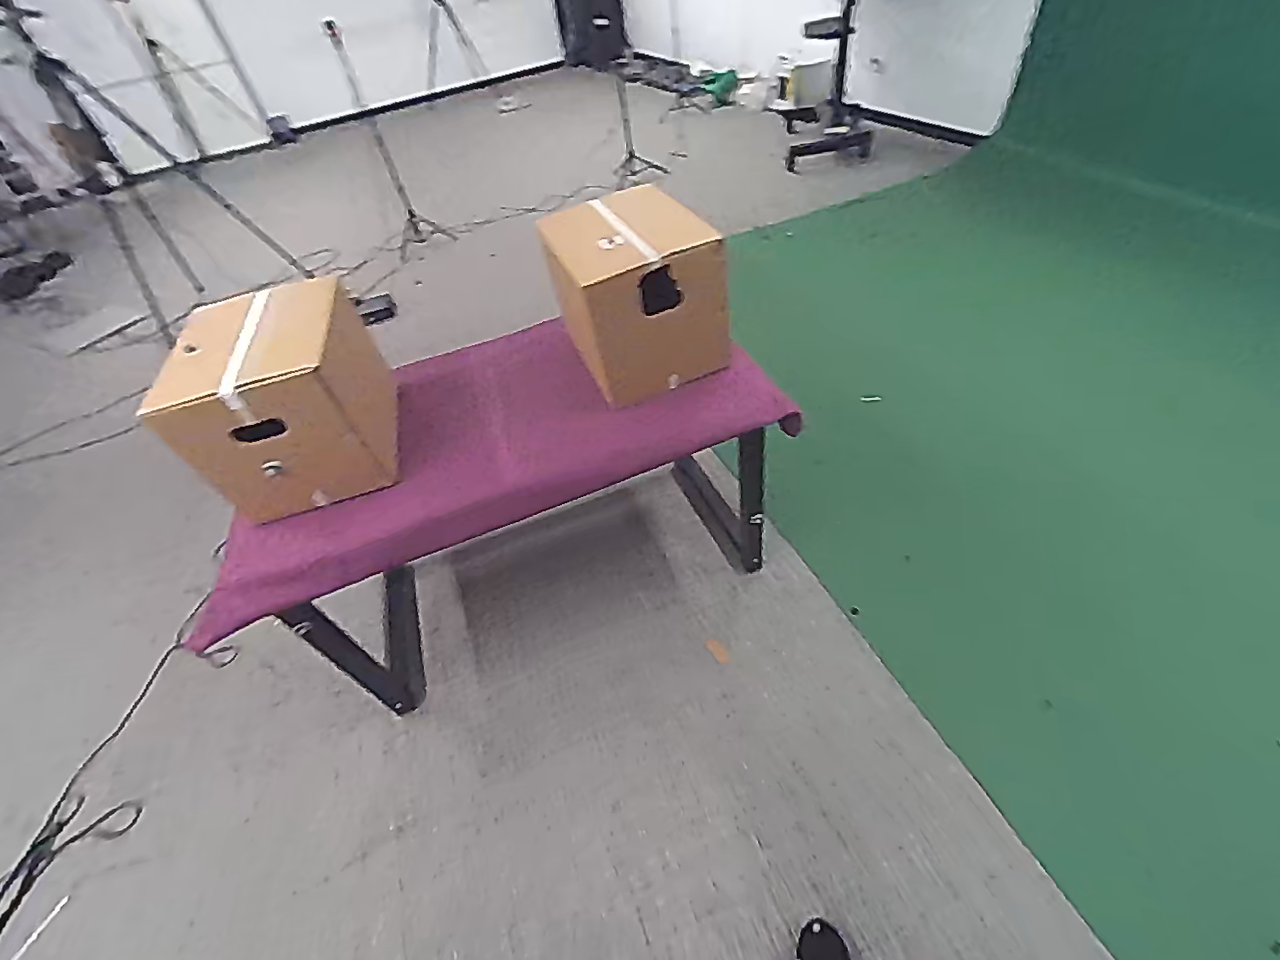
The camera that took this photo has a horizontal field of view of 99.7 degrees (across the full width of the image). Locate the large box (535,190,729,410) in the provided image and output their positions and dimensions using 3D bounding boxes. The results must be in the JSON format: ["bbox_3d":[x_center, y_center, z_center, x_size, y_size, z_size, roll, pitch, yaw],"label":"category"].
[{"bbox_3d":[-0.018,-0.438,1.295,0.320,0.320,0.408,-23,47,-8],"label":"large box"}]
